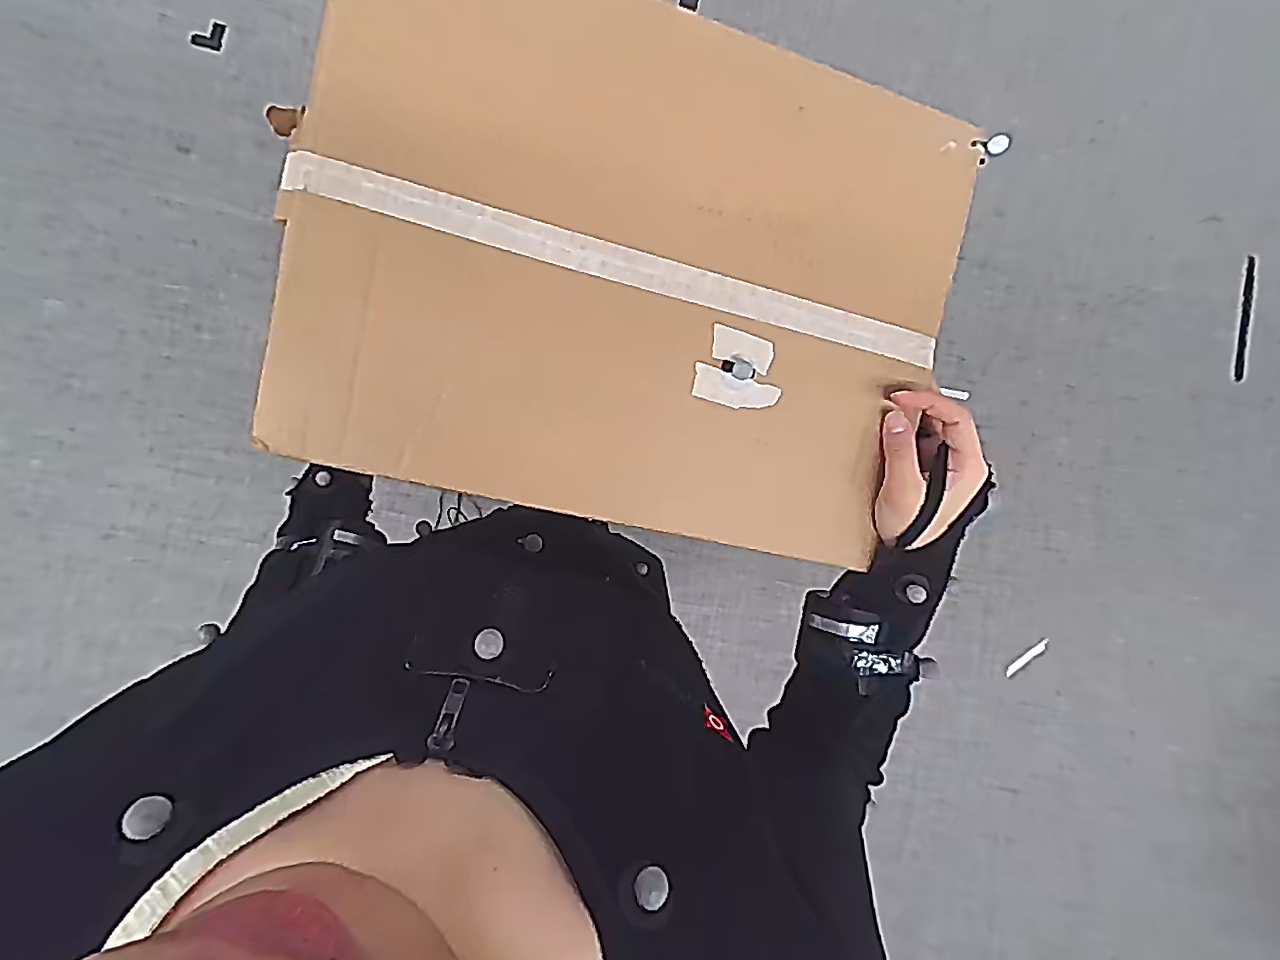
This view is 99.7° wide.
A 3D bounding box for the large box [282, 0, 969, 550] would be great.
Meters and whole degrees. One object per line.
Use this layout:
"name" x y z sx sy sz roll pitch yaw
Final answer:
"large box" -0.019 -0.147 0.489 0.408 0.320 0.320 12 94 -13
